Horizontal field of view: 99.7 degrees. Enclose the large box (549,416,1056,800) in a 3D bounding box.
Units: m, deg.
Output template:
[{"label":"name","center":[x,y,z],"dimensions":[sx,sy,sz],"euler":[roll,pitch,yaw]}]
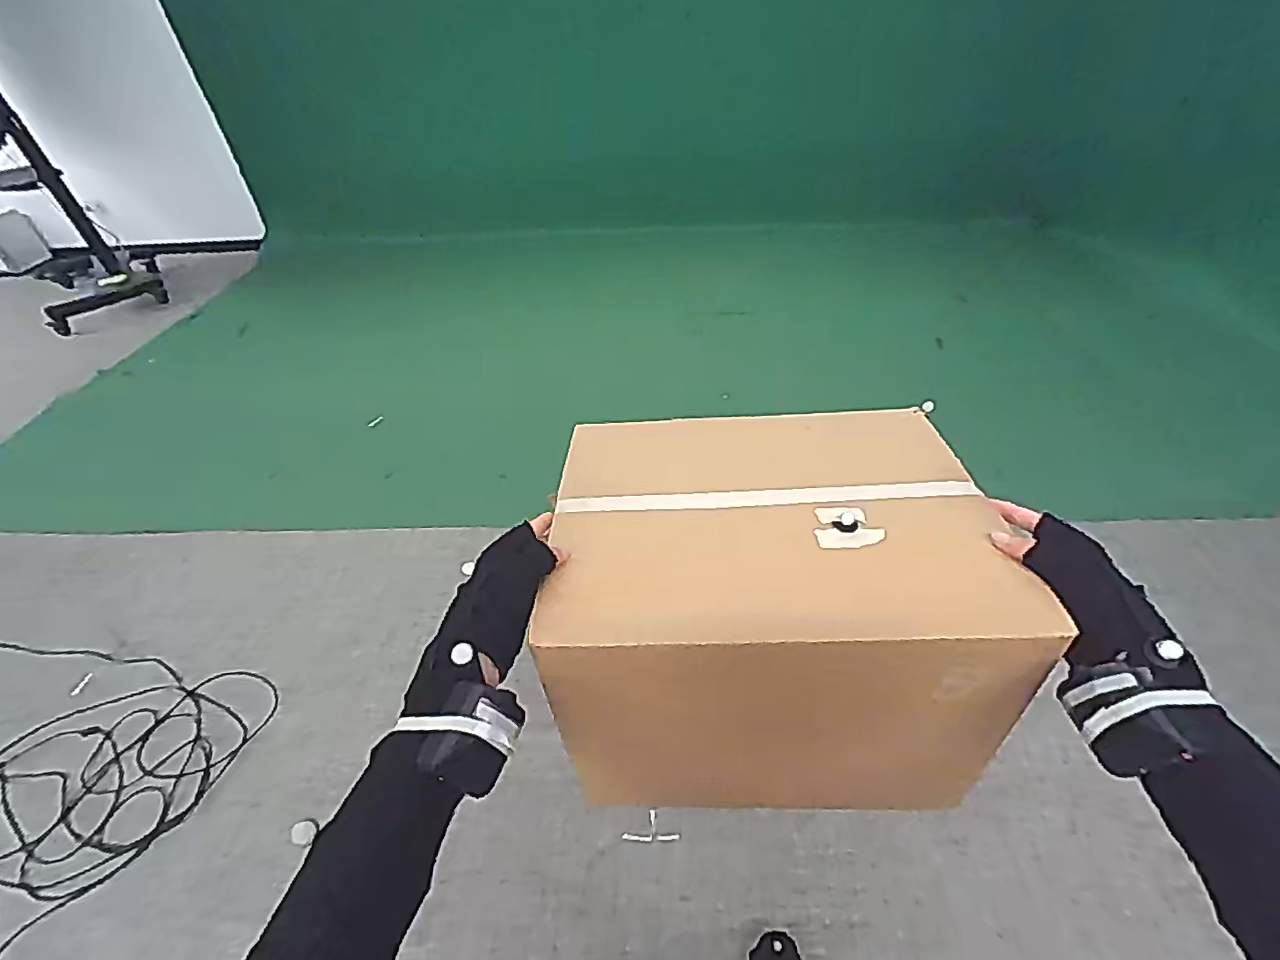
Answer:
[{"label":"large box","center":[0.133,0.142,0.627],"dimensions":[0.408,0.320,0.320],"euler":[-2,39,3]}]
